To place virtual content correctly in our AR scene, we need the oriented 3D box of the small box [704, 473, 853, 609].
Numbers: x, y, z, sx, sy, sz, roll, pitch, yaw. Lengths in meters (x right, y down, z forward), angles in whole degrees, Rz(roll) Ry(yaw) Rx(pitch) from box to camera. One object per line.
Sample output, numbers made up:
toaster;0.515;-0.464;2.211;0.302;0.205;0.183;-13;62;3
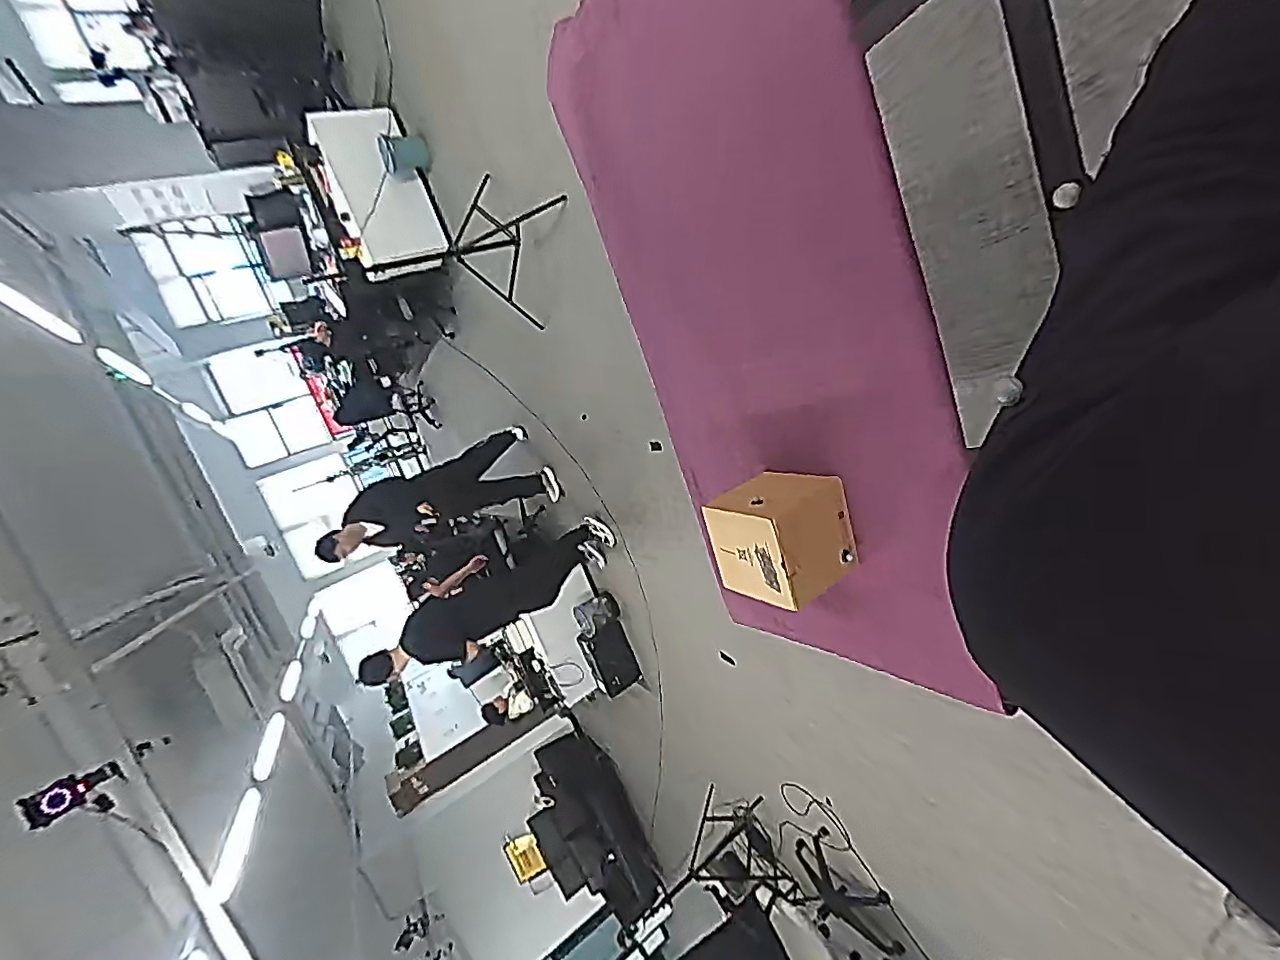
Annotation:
small box;0.245;0.094;0.937;0.179;0.176;0.168;8;119;59
